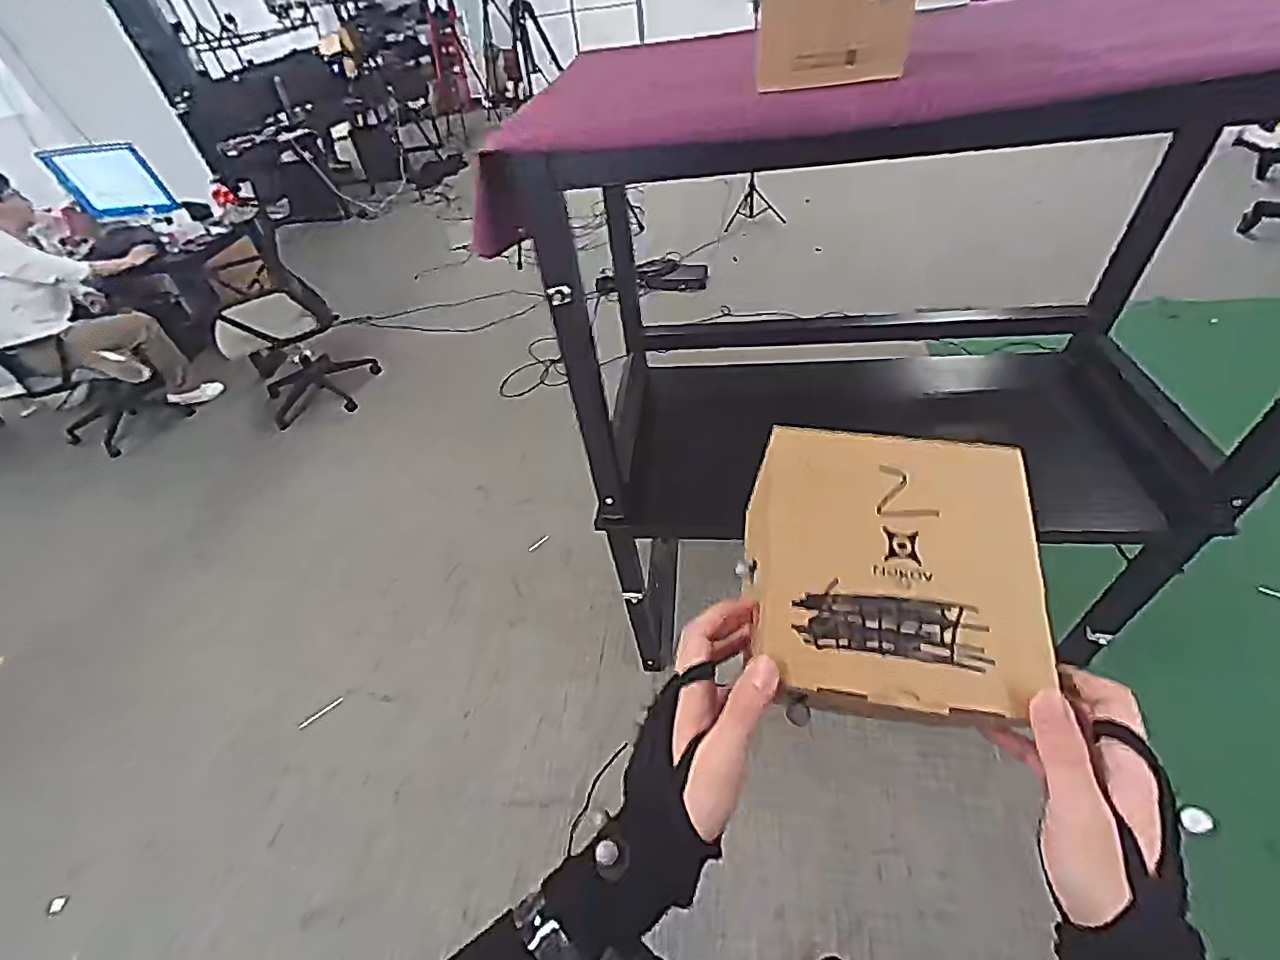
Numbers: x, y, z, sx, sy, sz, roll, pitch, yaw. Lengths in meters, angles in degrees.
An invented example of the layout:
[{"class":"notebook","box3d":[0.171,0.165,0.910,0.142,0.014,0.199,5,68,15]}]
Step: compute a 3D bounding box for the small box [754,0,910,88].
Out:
[{"class":"small box","box3d":[0.225,-0.585,0.645,0.168,0.176,0.179,2,44,10]}]
